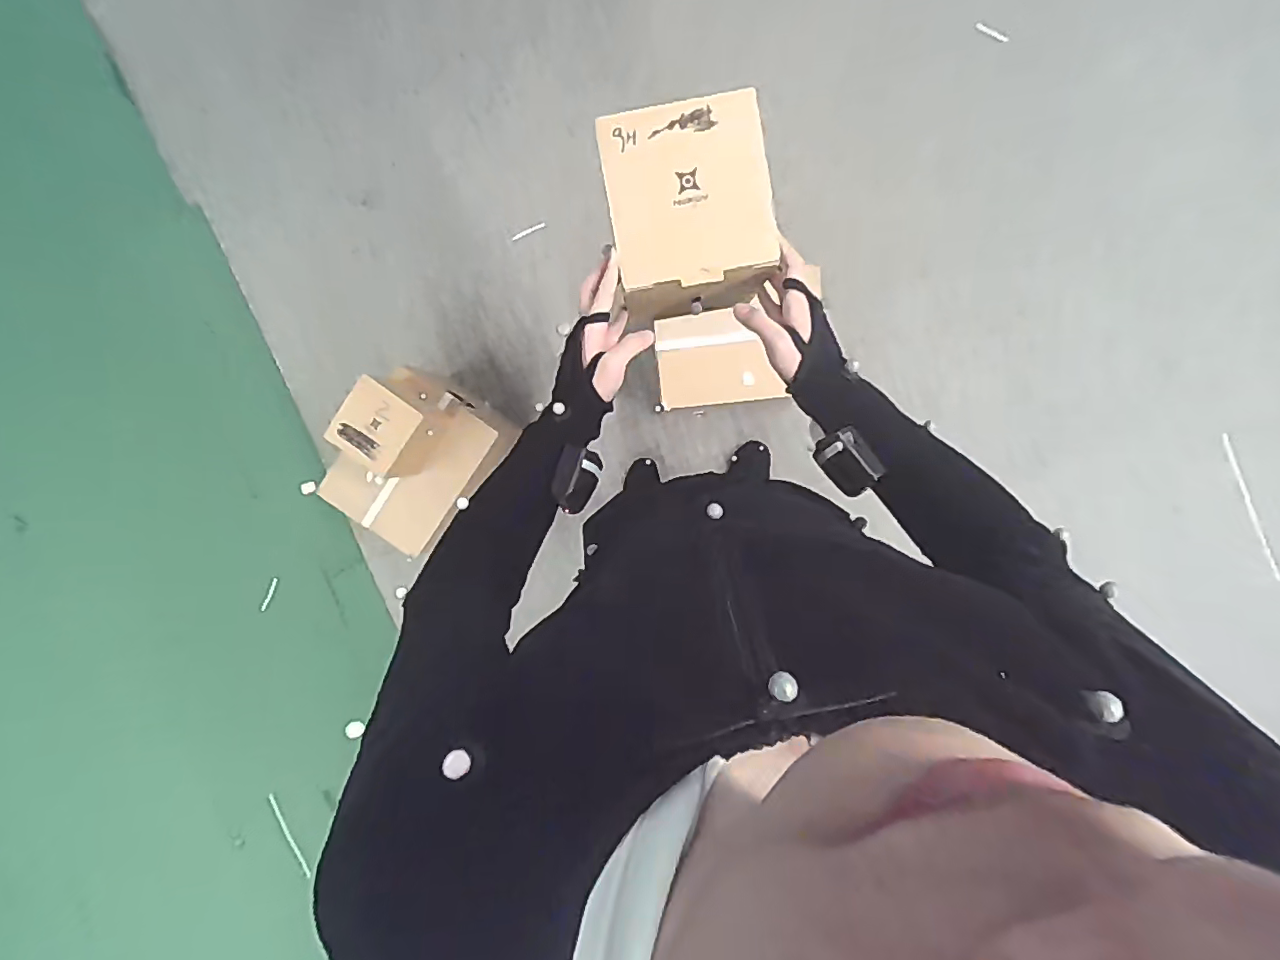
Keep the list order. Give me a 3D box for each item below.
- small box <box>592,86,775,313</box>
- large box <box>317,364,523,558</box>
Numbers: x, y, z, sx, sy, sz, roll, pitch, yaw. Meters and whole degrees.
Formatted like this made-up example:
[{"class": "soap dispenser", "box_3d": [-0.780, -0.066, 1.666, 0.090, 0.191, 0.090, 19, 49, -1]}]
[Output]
[{"class": "small box", "box_3d": [0.047, -0.300, 0.622, 0.168, 0.176, 0.179, -10, 95, 1]}, {"class": "large box", "box_3d": [-0.587, -0.061, 1.508, 0.320, 0.320, 0.408, 35, 96, -1]}]
